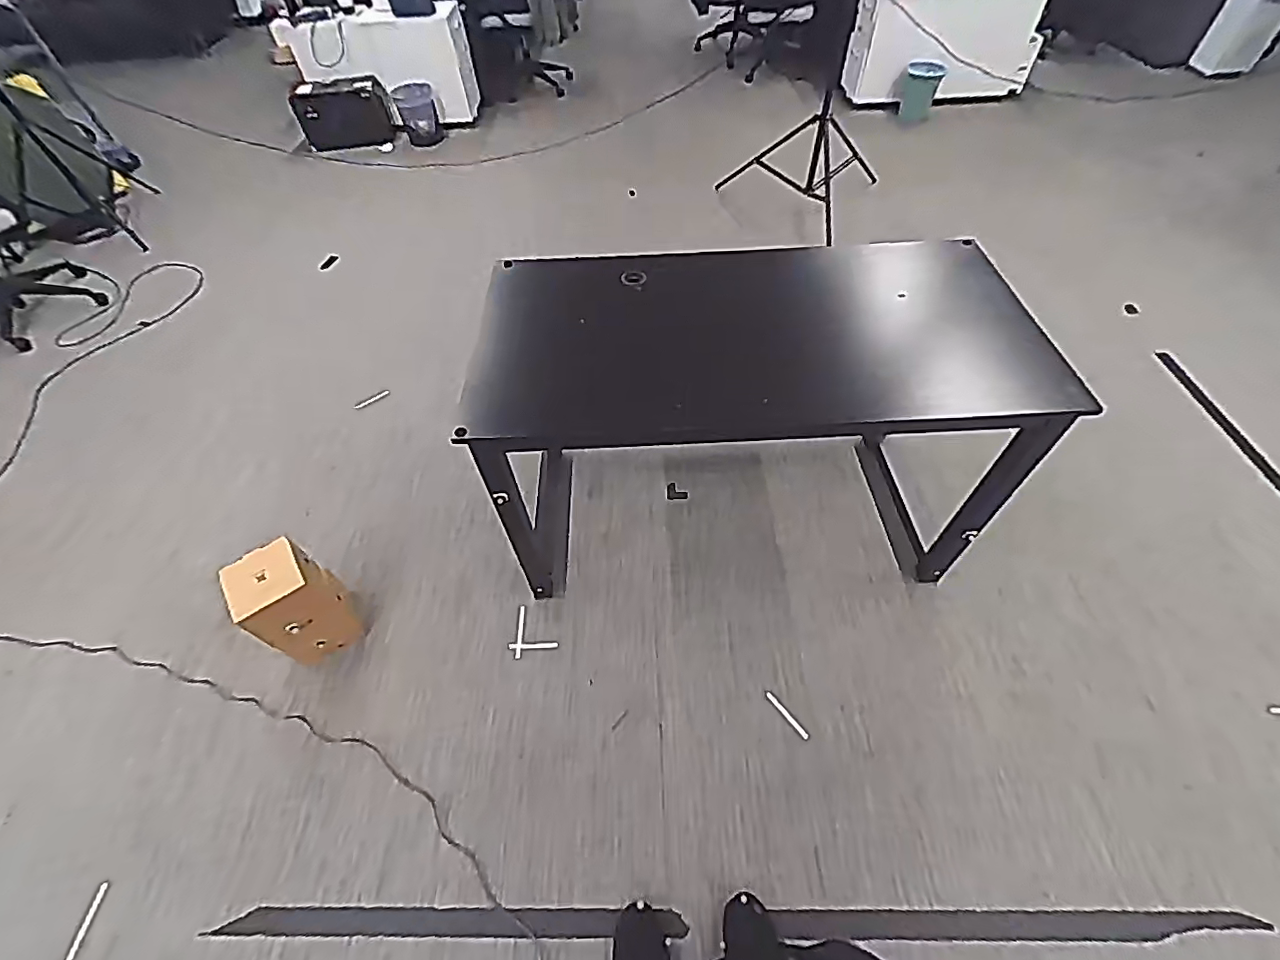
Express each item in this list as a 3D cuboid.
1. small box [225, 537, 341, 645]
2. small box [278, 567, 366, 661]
[{"bbox_3d":[-0.905,0.287,1.380,0.168,0.176,0.179,-33,59,-19],"label":"small box"},{"bbox_3d":[-0.896,0.383,1.512,0.168,0.176,0.179,-27,56,-19],"label":"small box"}]
